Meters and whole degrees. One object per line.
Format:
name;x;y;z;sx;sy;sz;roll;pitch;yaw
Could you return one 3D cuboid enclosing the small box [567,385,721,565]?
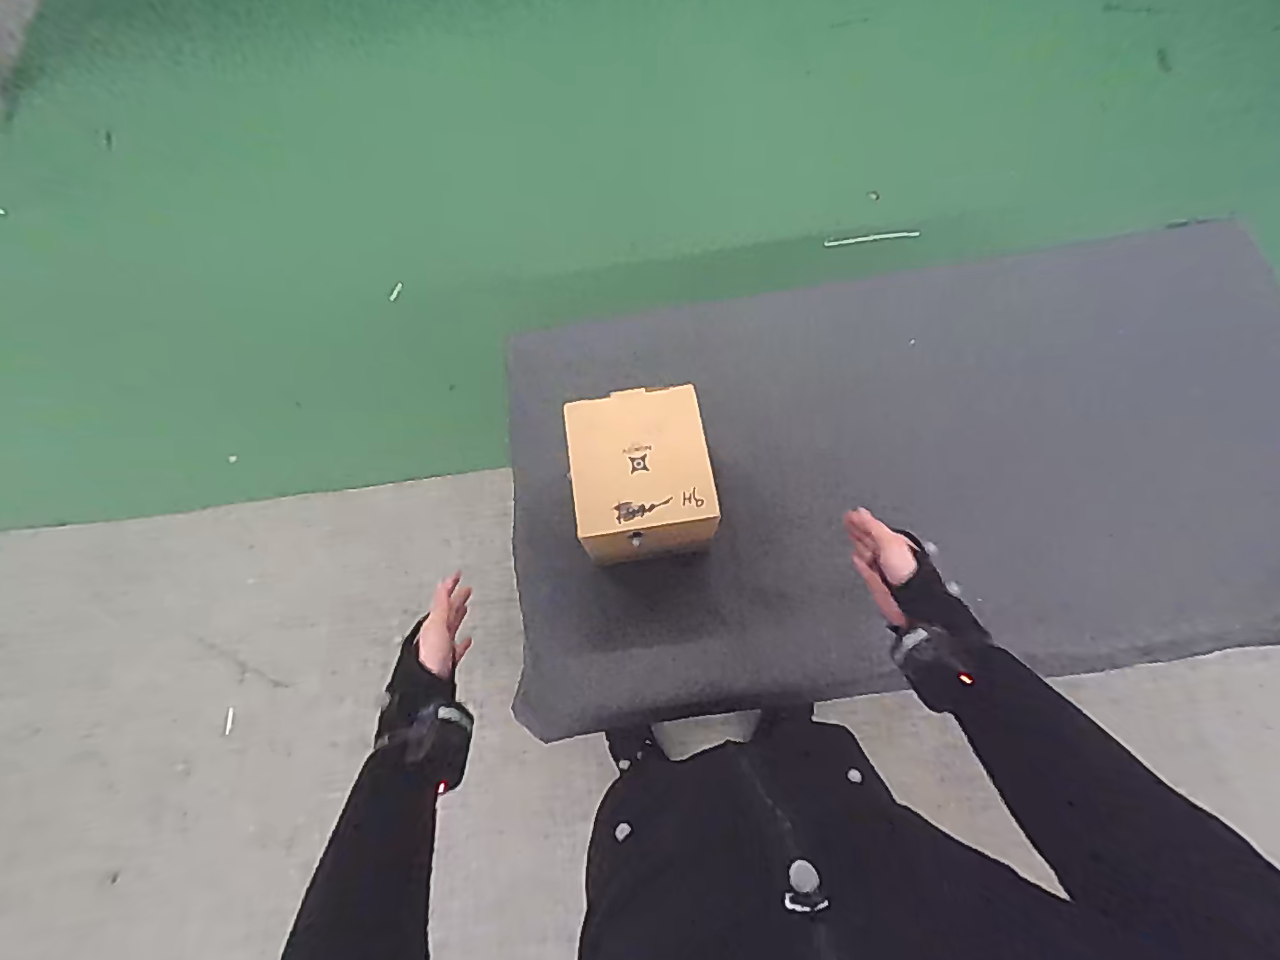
small box;0.004;0.000;0.714;0.168;0.176;0.179;-9;70;0
